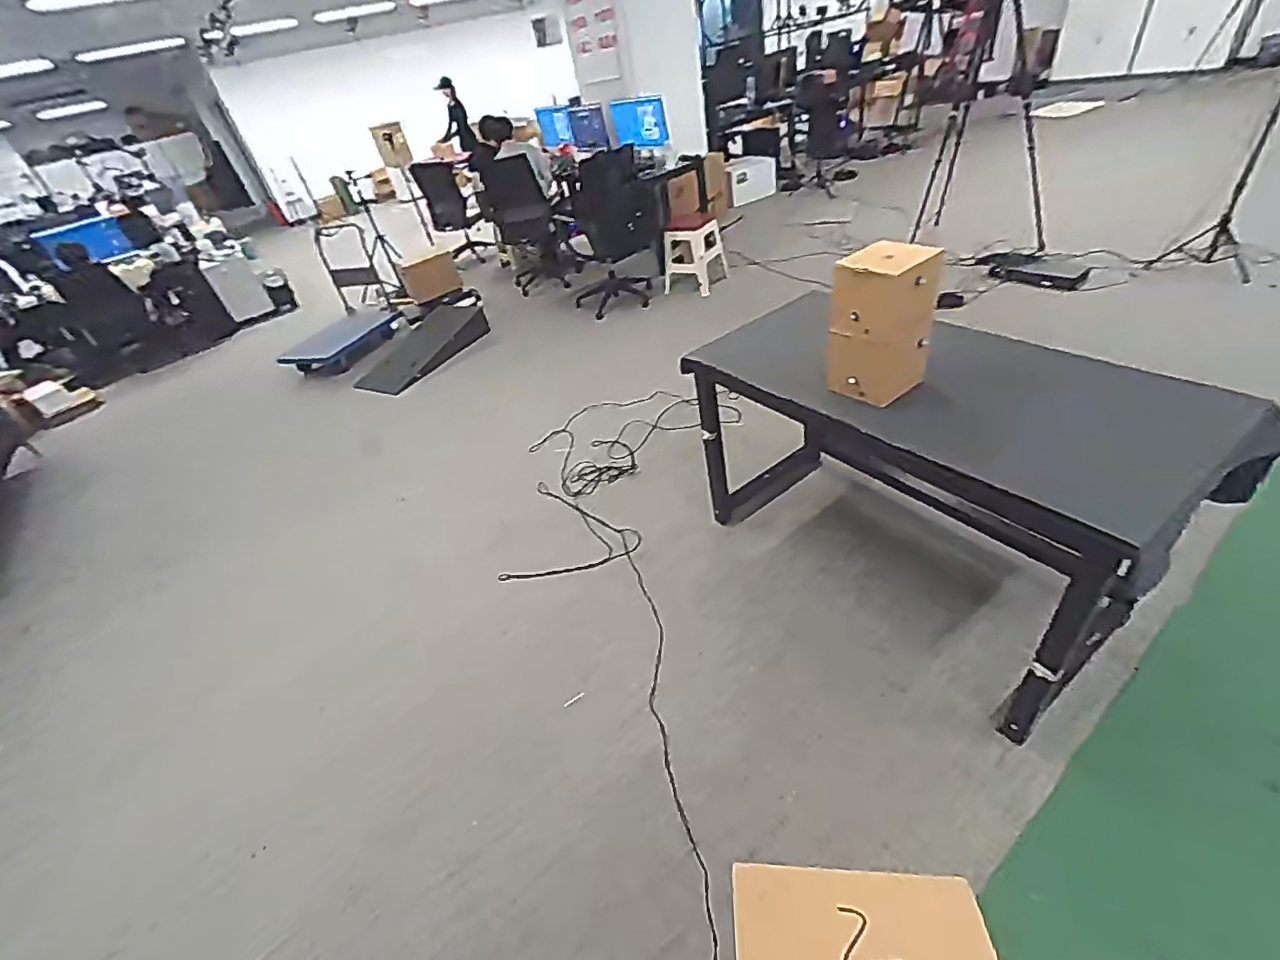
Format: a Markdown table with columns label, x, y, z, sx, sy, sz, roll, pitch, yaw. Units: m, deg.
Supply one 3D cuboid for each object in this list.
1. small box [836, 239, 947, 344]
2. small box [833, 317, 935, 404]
| label | x | y | z | sx | sy | sz | roll | pitch | yaw |
| --- | --- | --- | --- | --- | --- | --- | --- | --- | --- |
| small box | 0.577 | -0.442 | 1.265 | 0.179 | 0.176 | 0.168 | -31 | 42 | -22 |
| small box | 0.605 | -0.317 | 1.364 | 0.179 | 0.176 | 0.168 | -31 | 41 | -22 |
